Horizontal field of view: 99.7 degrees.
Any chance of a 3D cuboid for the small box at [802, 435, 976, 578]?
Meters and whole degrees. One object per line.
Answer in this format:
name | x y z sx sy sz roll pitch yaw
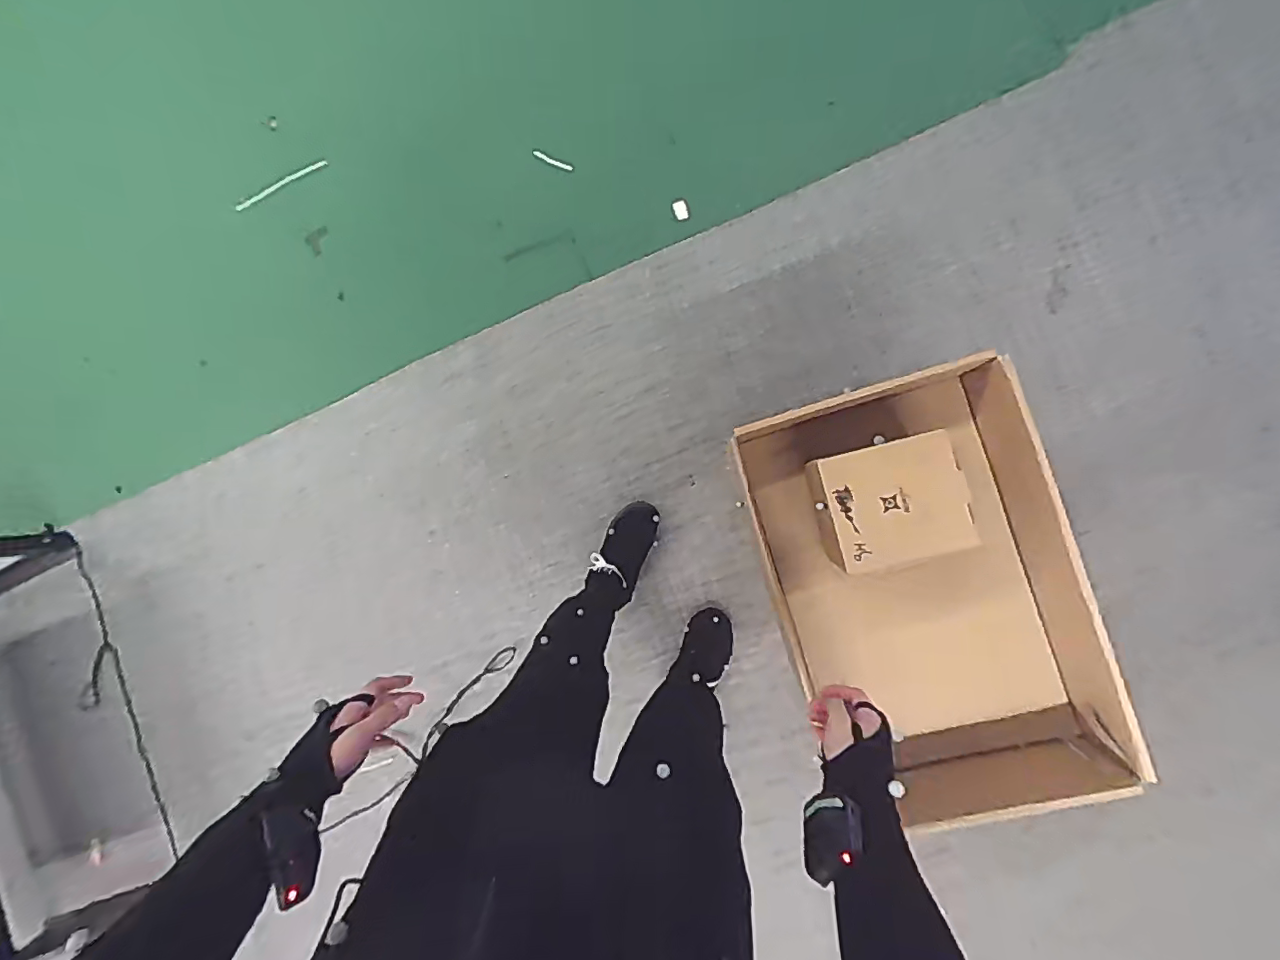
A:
small box | 0.357 0.037 0.808 0.179 0.176 0.168 -14 86 10
